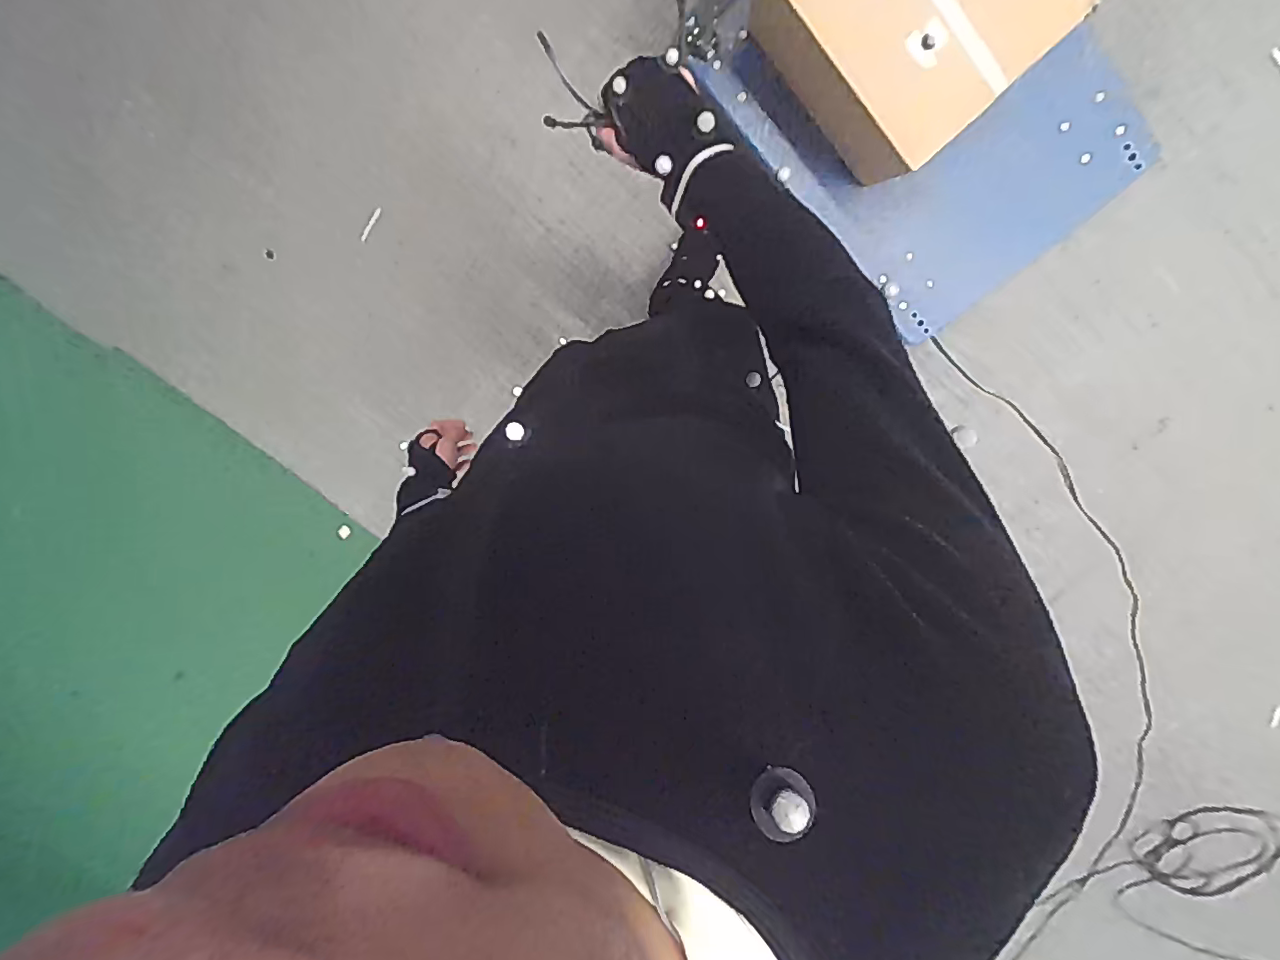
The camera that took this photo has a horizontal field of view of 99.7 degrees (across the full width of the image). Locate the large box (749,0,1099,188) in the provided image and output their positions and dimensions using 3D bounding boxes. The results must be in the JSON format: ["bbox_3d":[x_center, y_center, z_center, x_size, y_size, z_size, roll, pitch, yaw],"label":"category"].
[{"bbox_3d":[0.443,-0.792,0.936,0.320,0.320,0.408,-40,105,21],"label":"large box"}]
